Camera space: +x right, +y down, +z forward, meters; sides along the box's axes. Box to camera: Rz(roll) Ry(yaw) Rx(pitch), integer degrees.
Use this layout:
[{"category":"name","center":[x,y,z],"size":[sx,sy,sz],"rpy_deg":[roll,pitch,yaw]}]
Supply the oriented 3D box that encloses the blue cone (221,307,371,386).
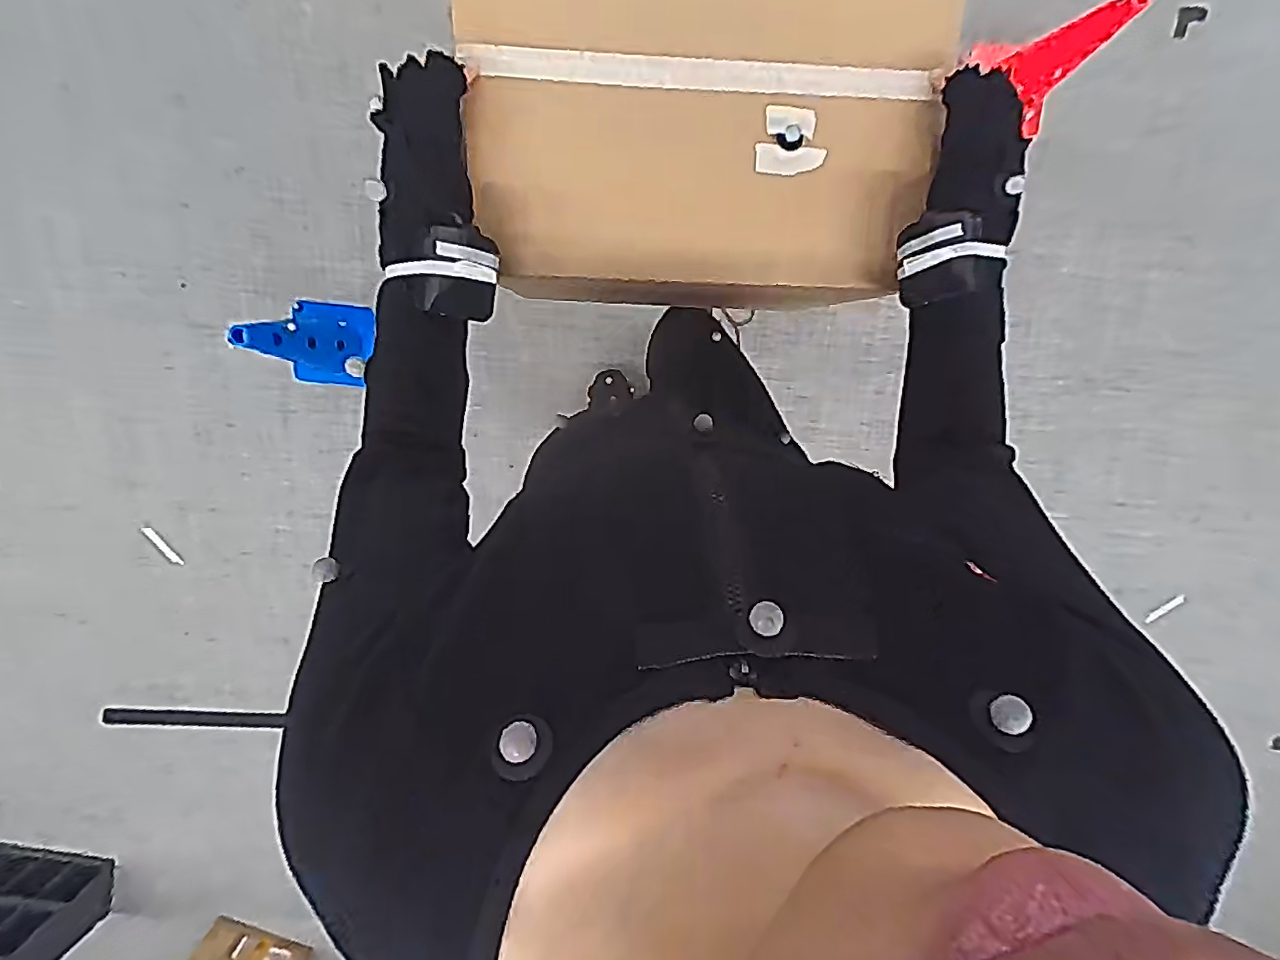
[{"category":"blue cone","center":[-0.776,-0.306,1.211],"size":[0.192,0.380,0.193],"rpy_deg":[6,101,-3]}]

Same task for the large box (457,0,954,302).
[{"category":"large box","center":[0.044,-0.369,0.585],"size":[0.408,0.320,0.320],"rpy_deg":[1,104,-4]}]

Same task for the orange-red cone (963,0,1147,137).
[{"category":"orange-red cone","center":[0.903,-0.922,1.153],"size":[0.198,0.360,0.199],"rpy_deg":[0,100,-4]}]
